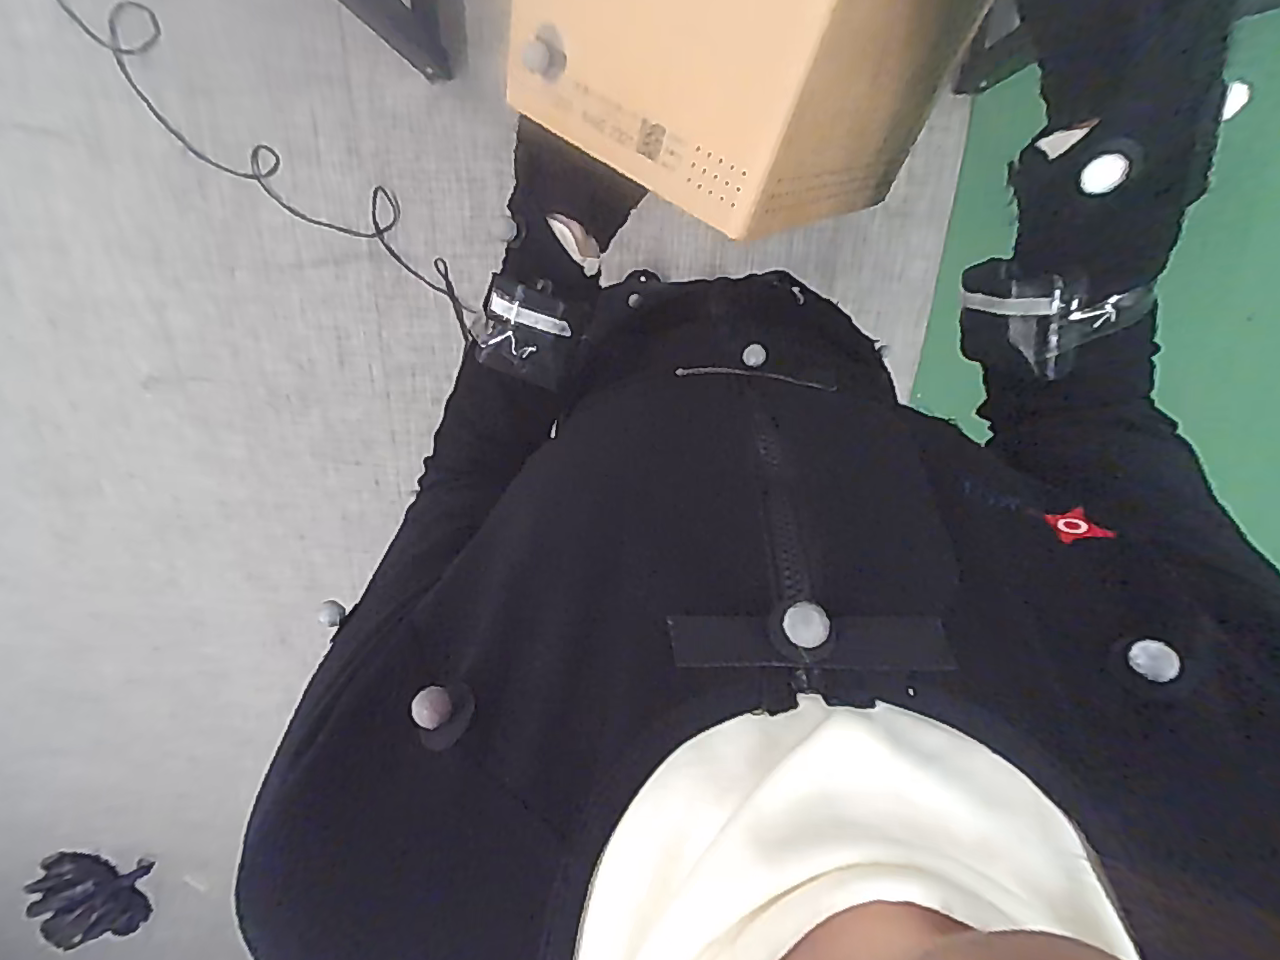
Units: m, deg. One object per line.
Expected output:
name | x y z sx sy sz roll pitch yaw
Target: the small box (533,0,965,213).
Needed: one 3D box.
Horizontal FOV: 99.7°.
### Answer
small box | 0.061 -0.255 0.275 0.168 0.179 0.176 41 138 19
